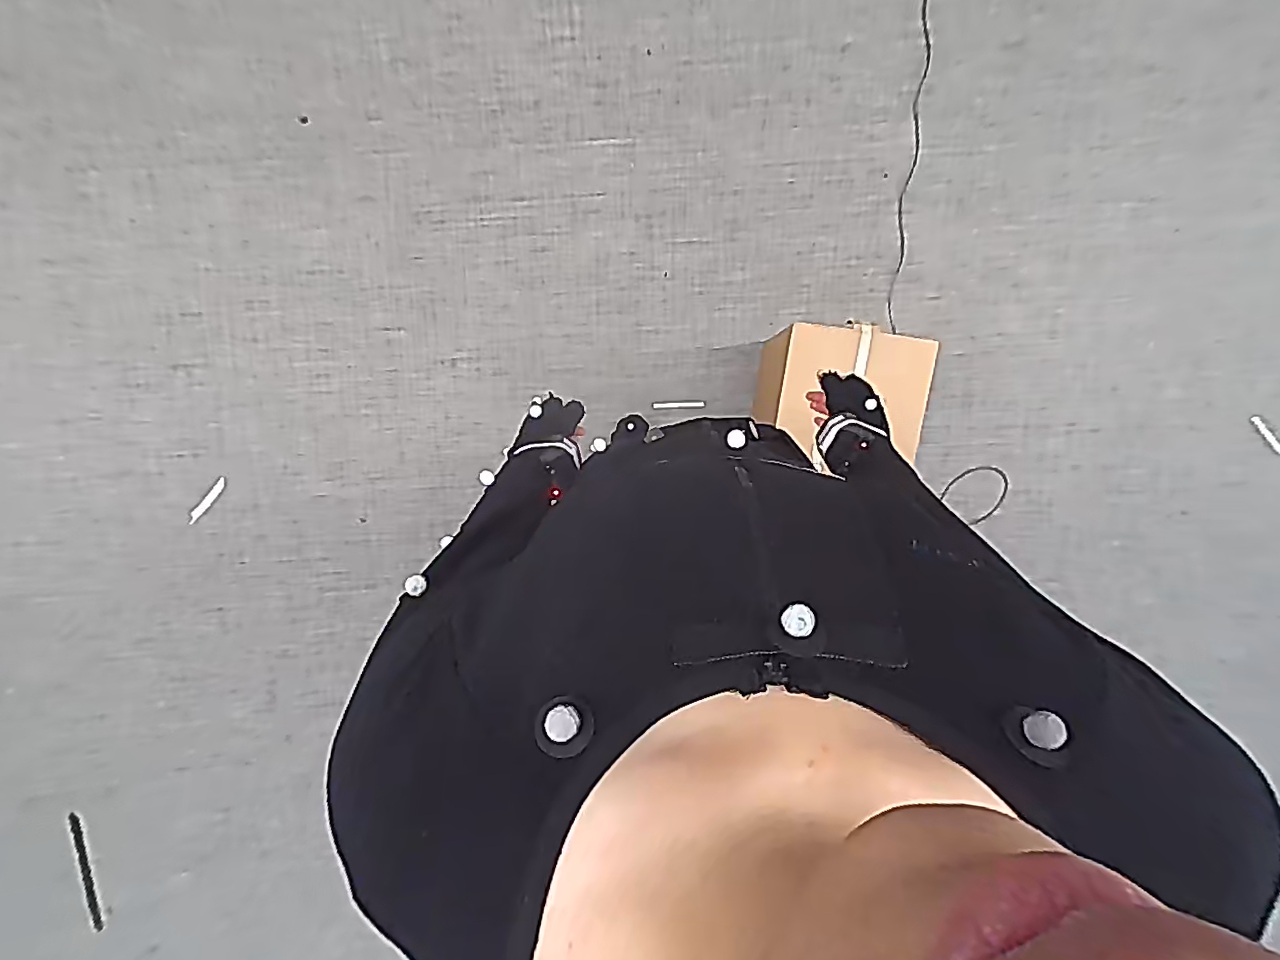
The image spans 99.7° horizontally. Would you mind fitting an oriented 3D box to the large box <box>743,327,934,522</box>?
[{"bbox_3d":[0.461,-0.141,1.336,0.320,0.320,0.408,8,98,0],"label":"large box"}]
